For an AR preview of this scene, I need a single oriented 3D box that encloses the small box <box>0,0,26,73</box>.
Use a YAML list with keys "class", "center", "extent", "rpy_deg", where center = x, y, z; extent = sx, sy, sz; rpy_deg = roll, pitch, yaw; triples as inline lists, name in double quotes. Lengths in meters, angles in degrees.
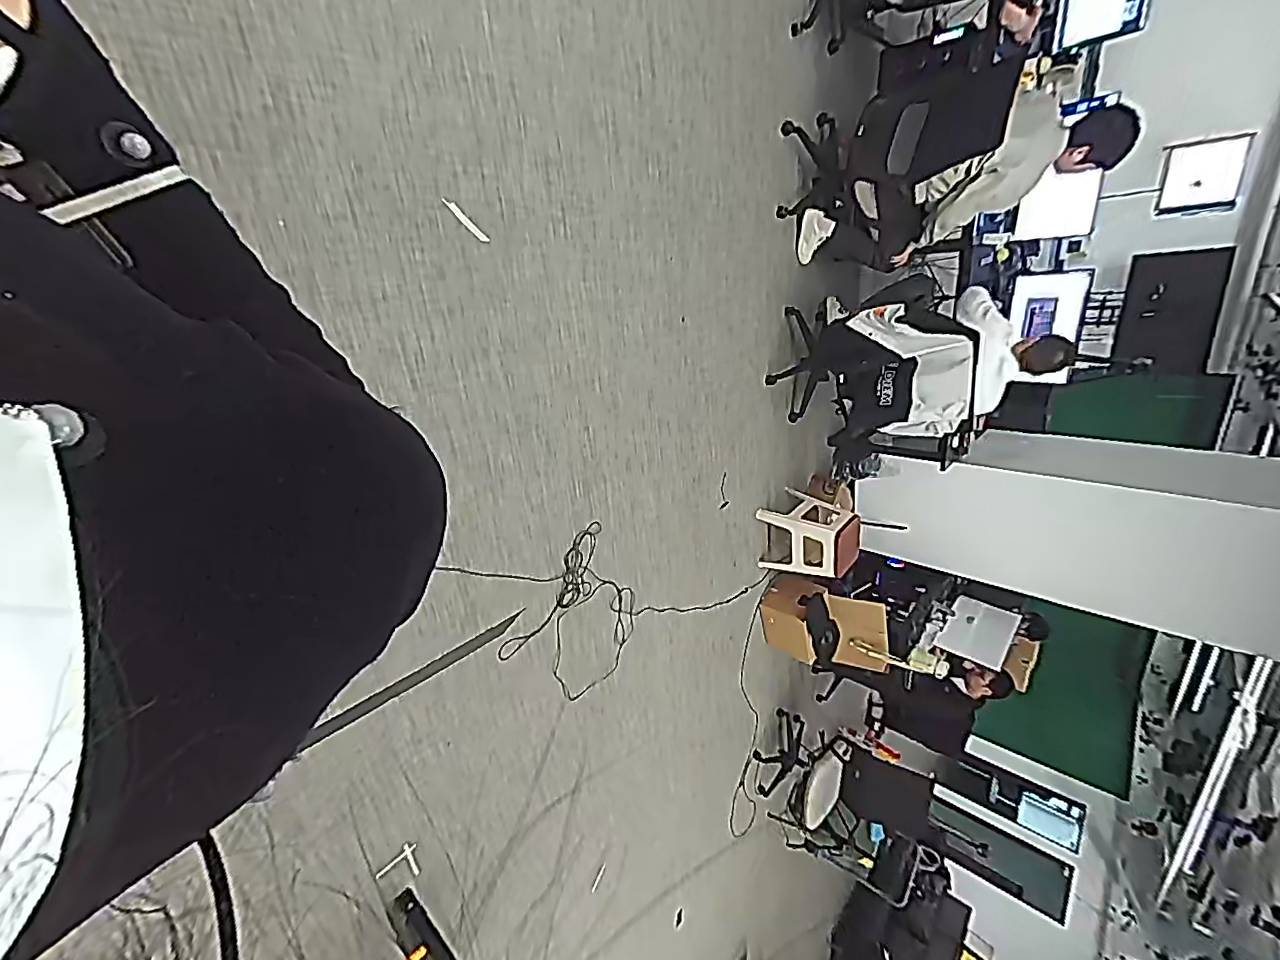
- class: "small box"
  center: [-0.630, -0.451, 0.412]
  extent: [0.168, 0.176, 0.179]
  rpy_deg: [-27, 120, -44]
